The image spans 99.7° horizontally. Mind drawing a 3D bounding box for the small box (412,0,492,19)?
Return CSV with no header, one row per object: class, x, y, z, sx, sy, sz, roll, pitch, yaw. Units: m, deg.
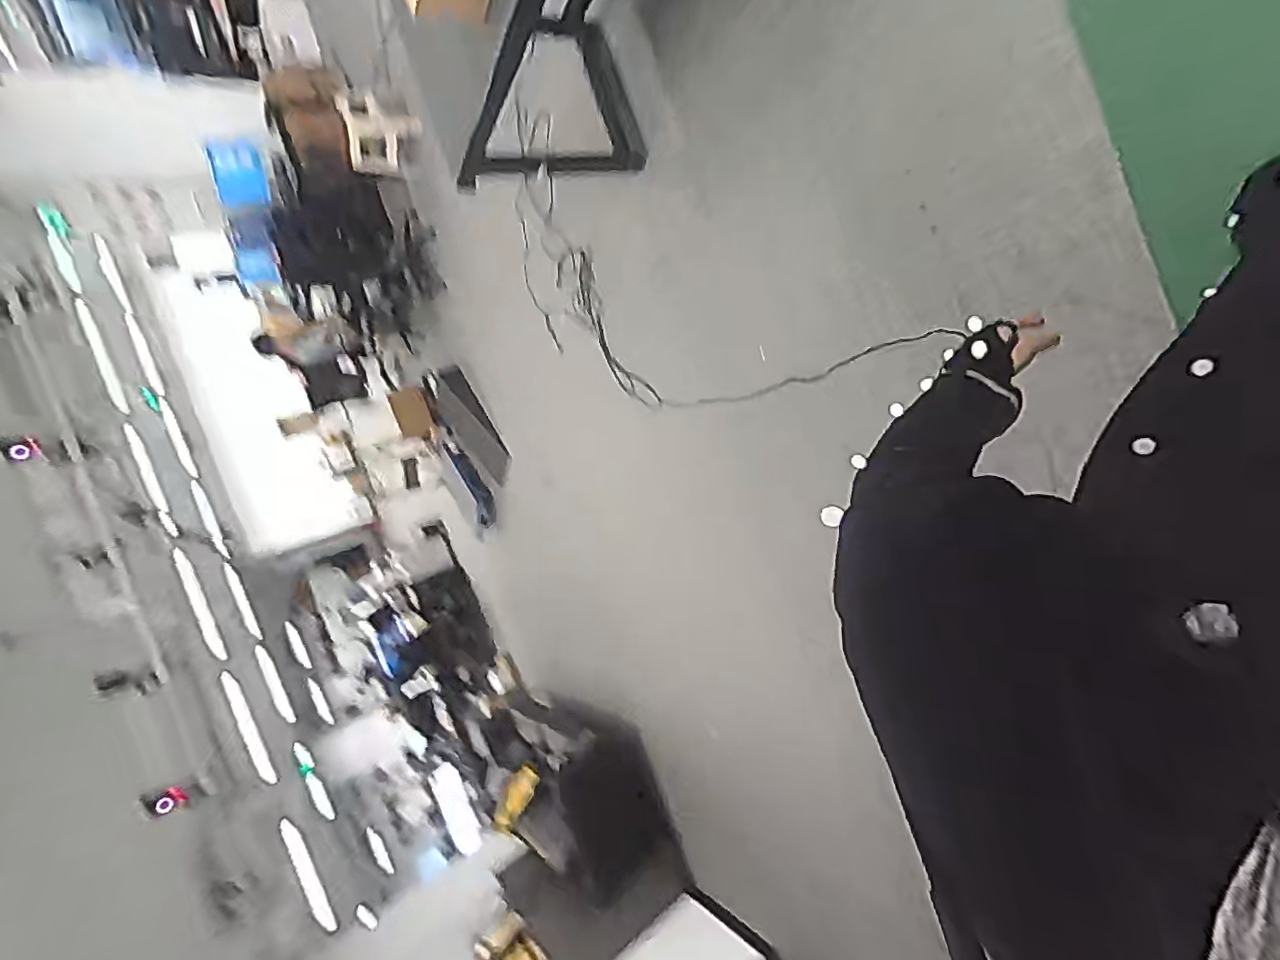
small box,-0.430,-1.181,1.203,0.168,0.176,0.179,-20,91,59
